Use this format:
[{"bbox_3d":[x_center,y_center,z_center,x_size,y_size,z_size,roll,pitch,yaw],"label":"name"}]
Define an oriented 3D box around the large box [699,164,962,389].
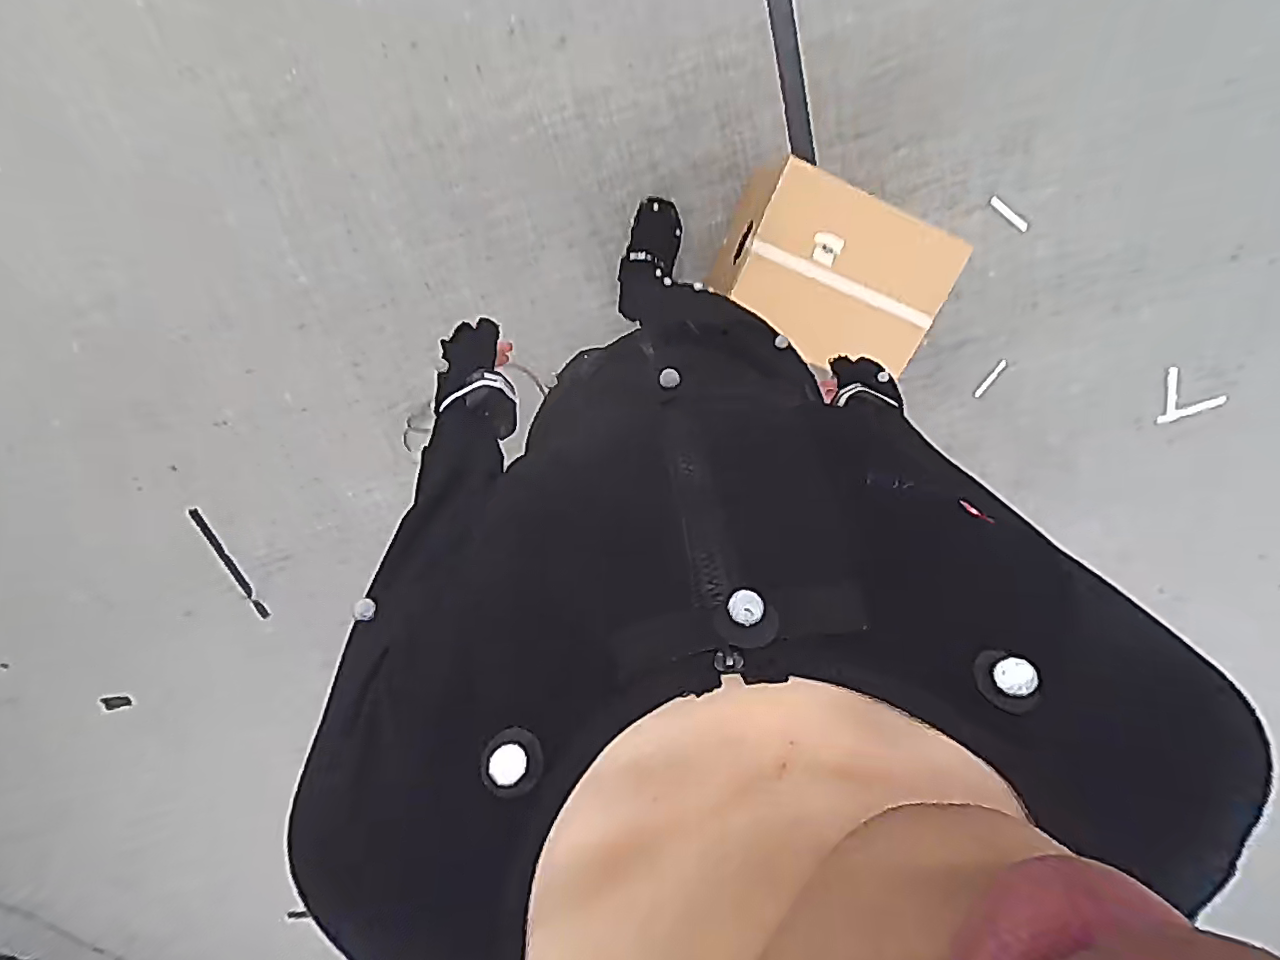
[{"bbox_3d":[0.384,-0.444,1.201,0.408,0.320,0.320,20,112,-9],"label":"large box"}]
